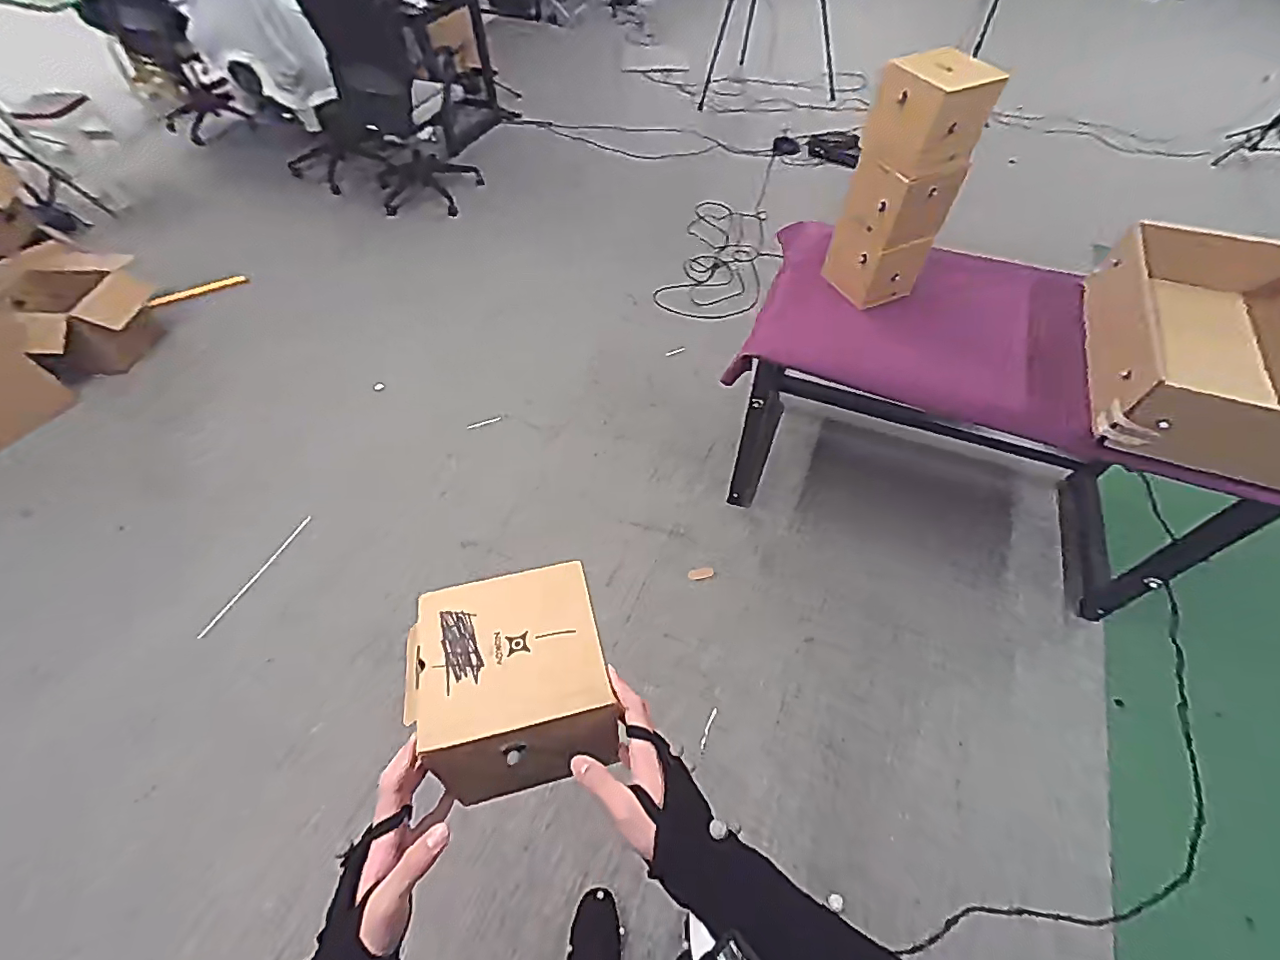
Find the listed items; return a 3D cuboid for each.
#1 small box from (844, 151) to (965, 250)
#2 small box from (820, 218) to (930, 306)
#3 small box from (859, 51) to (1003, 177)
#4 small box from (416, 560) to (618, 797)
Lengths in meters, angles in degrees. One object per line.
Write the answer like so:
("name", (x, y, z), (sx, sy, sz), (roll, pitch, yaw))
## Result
("small box", (0.608, -0.671, 1.276), (0.179, 0.176, 0.168), (-20, 58, -14))
("small box", (0.601, -0.575, 1.408), (0.168, 0.176, 0.179), (-20, 57, -15))
("small box", (0.604, -0.767, 1.146), (0.168, 0.176, 0.179), (-22, 58, -15))
("small box", (-0.125, 0.215, 0.585), (0.179, 0.176, 0.168), (-10, 47, -10))
